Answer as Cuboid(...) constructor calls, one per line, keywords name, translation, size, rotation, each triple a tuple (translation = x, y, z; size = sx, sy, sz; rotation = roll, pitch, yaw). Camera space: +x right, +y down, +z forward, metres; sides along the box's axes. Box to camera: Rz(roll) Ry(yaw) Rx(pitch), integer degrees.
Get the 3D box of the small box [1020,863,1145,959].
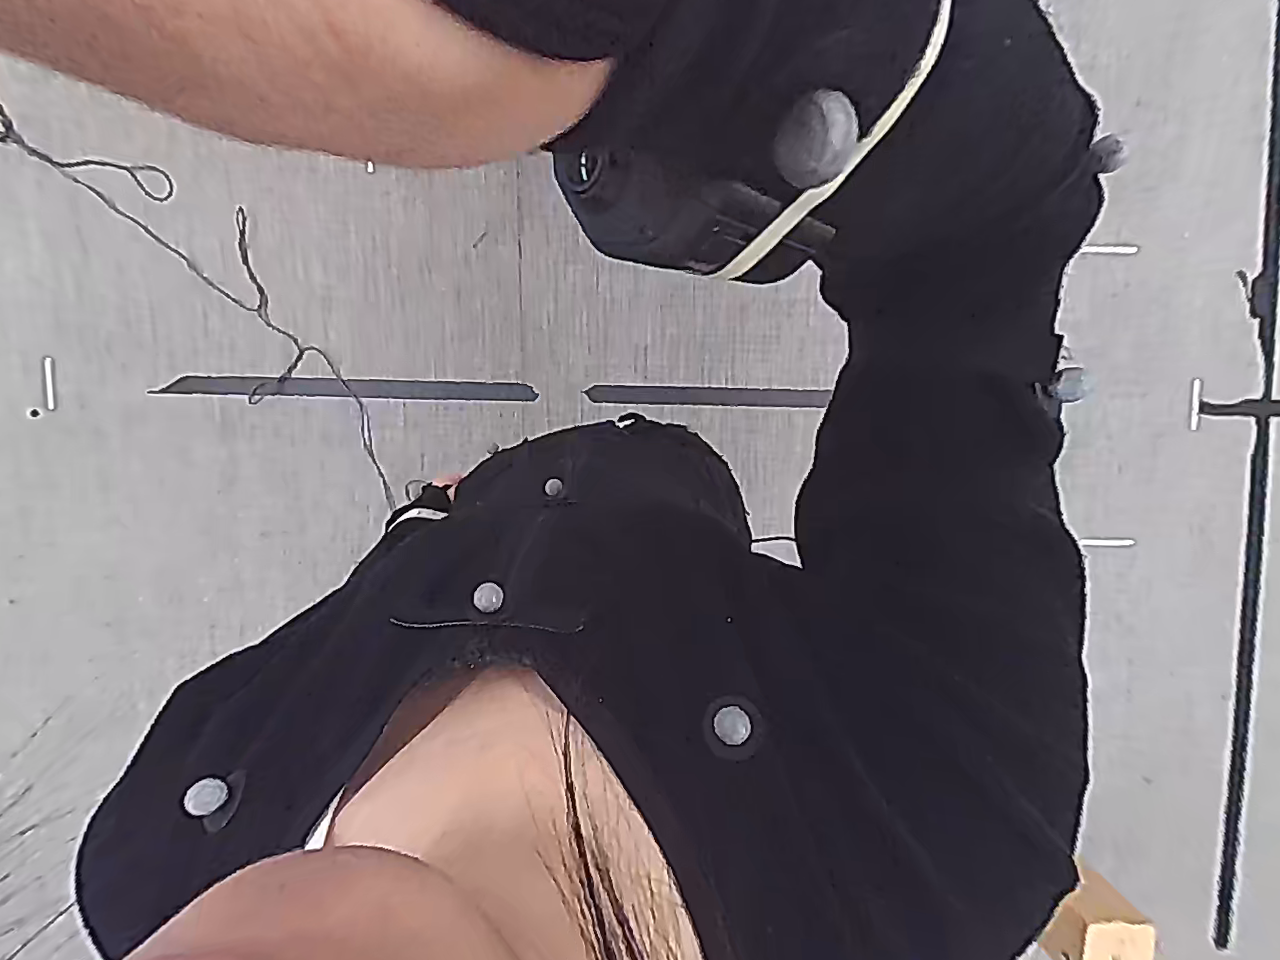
Cuboid(name="small box", translation=(1.088, 1.103, 1.344), size=(0.168, 0.176, 0.179), rotation=(4, 93, -2))
